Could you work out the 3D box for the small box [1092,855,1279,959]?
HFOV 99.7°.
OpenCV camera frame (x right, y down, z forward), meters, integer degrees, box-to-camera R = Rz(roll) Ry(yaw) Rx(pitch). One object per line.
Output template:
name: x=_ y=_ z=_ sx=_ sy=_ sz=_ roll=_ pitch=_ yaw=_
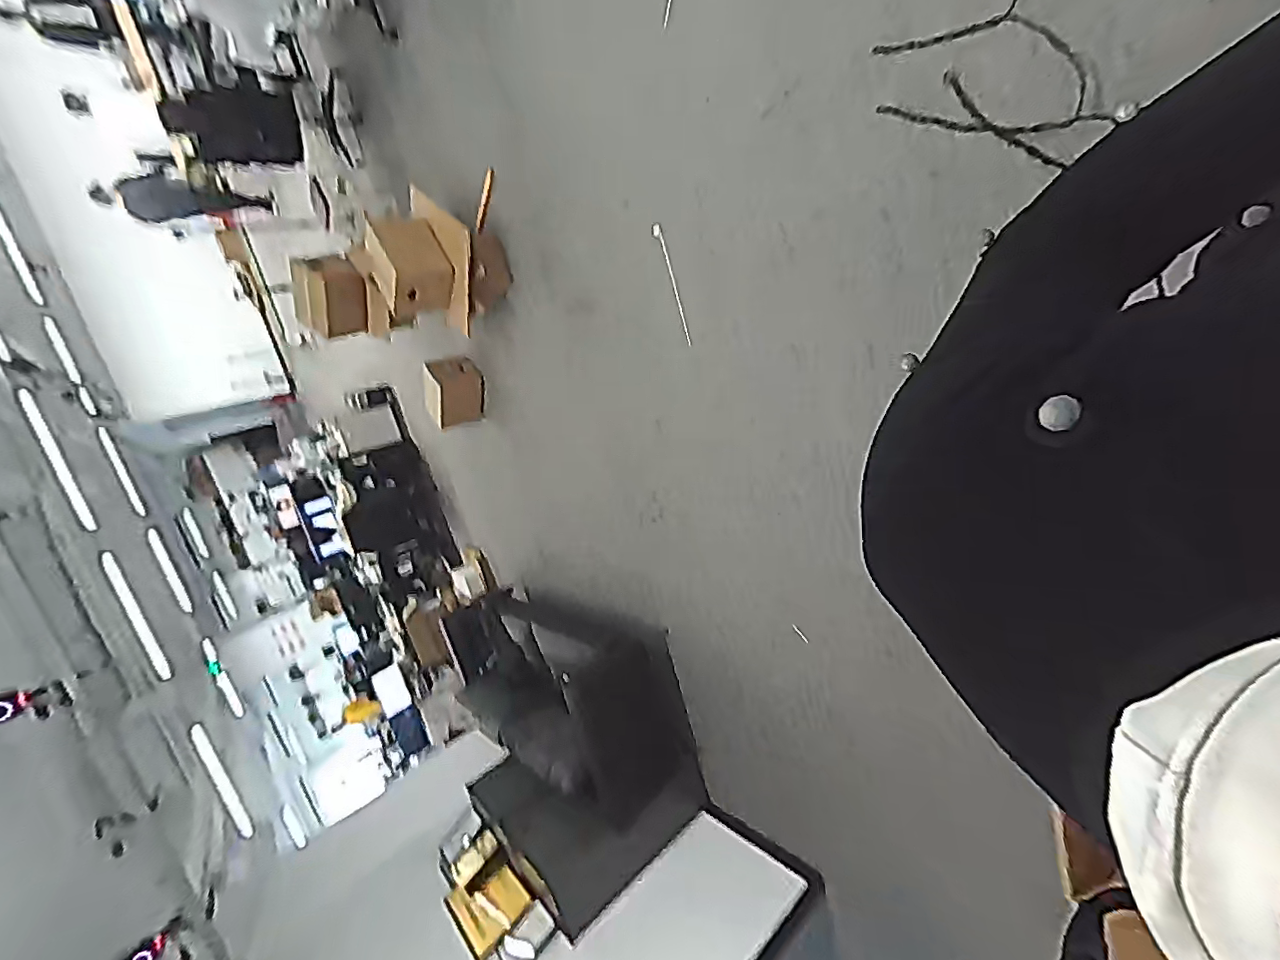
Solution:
small box: x=0.742 y=0.666 z=0.731 sx=0.179 sy=0.176 sz=0.168 roll=6 pitch=115 yaw=51
